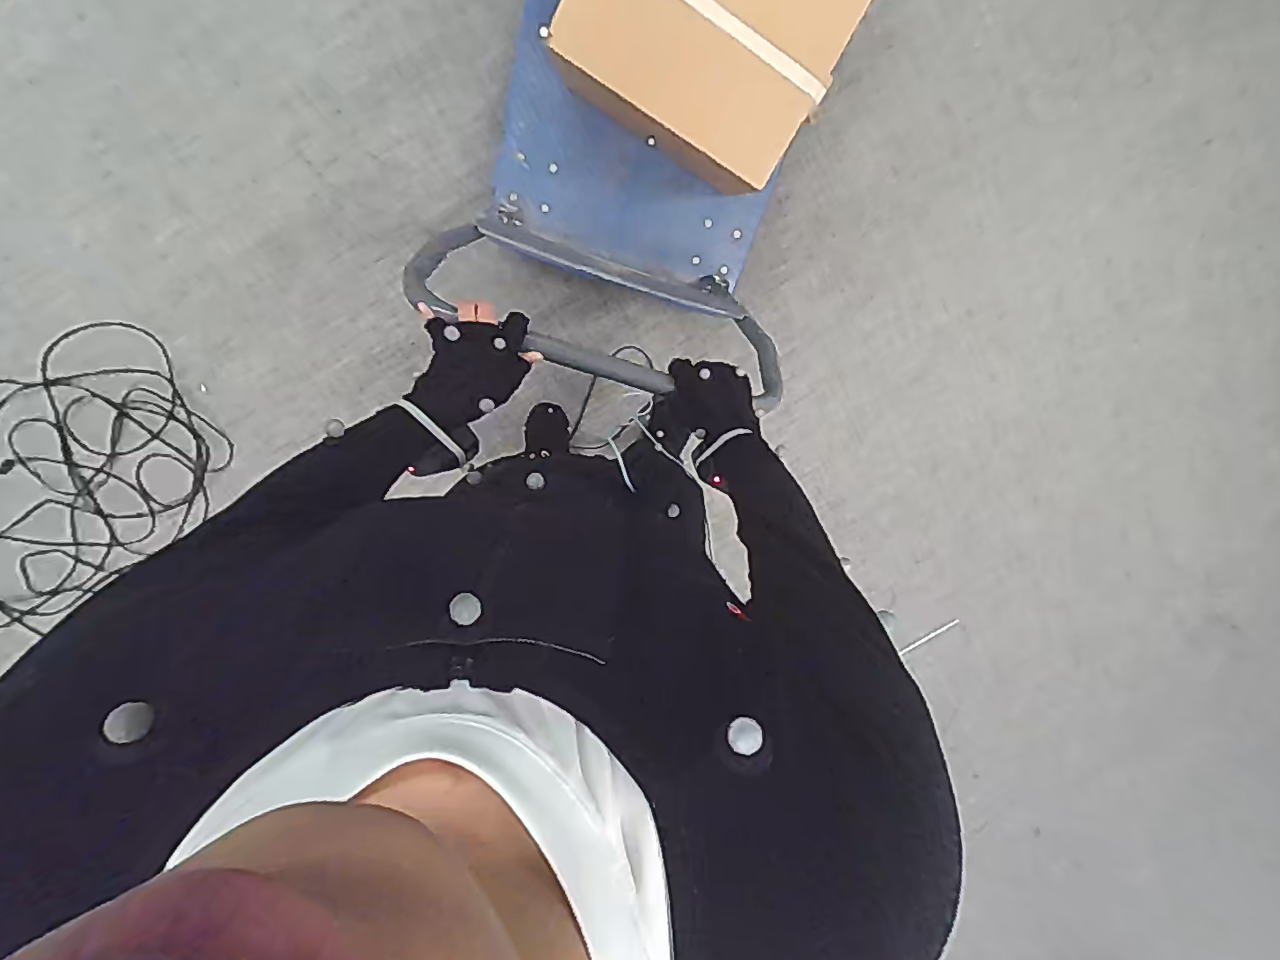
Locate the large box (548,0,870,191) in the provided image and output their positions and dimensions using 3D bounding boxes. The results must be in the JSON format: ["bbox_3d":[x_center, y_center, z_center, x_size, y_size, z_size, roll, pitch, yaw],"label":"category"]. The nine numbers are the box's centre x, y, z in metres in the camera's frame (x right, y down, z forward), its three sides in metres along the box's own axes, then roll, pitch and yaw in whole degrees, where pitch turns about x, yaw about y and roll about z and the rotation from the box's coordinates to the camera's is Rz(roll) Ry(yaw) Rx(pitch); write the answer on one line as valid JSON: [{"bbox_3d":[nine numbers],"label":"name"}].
[{"bbox_3d":[0.105,-0.757,0.942,0.408,0.320,0.320,27,113,-13],"label":"large box"}]
